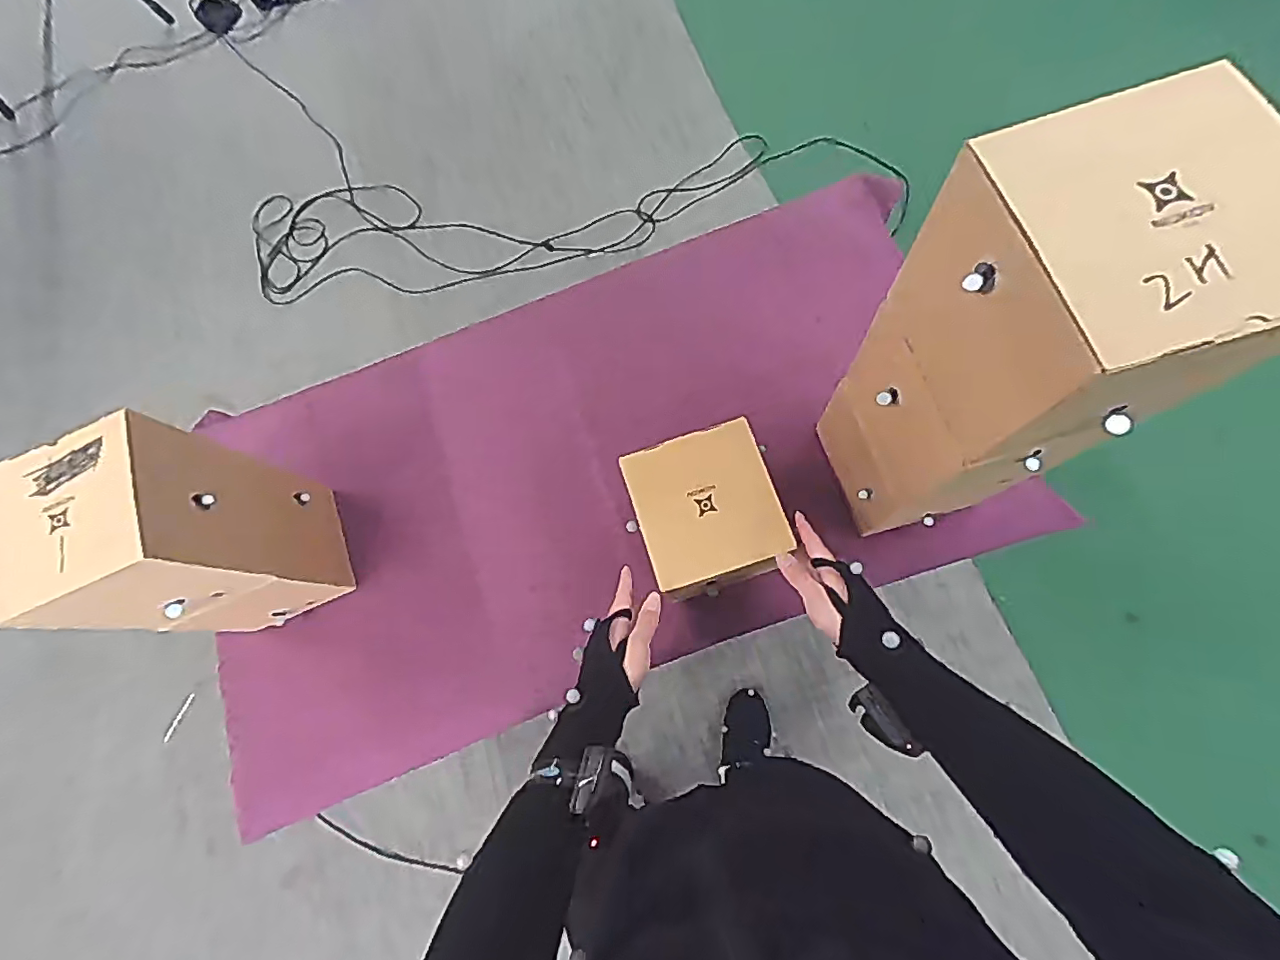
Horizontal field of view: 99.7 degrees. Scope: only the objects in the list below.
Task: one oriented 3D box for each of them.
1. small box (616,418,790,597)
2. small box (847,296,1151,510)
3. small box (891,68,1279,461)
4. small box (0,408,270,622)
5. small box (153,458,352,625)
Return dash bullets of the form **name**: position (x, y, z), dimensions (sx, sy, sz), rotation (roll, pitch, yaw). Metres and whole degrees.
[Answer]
- **small box**: position (0.082, 0.049, 0.713), dimensions (0.168, 0.176, 0.179), rotation (-19, 71, 2)
- **small box**: position (0.332, -0.088, 0.548), dimensions (0.168, 0.176, 0.179), rotation (-17, 72, 3)
- **small box**: position (0.311, -0.135, 0.391), dimensions (0.168, 0.176, 0.179), rotation (-16, 73, 3)
- **small box**: position (-0.568, 0.052, 0.616), dimensions (0.168, 0.176, 0.179), rotation (-24, 74, 0)
- **small box**: position (-0.550, 0.097, 0.773), dimensions (0.168, 0.176, 0.179), rotation (-23, 74, 0)
